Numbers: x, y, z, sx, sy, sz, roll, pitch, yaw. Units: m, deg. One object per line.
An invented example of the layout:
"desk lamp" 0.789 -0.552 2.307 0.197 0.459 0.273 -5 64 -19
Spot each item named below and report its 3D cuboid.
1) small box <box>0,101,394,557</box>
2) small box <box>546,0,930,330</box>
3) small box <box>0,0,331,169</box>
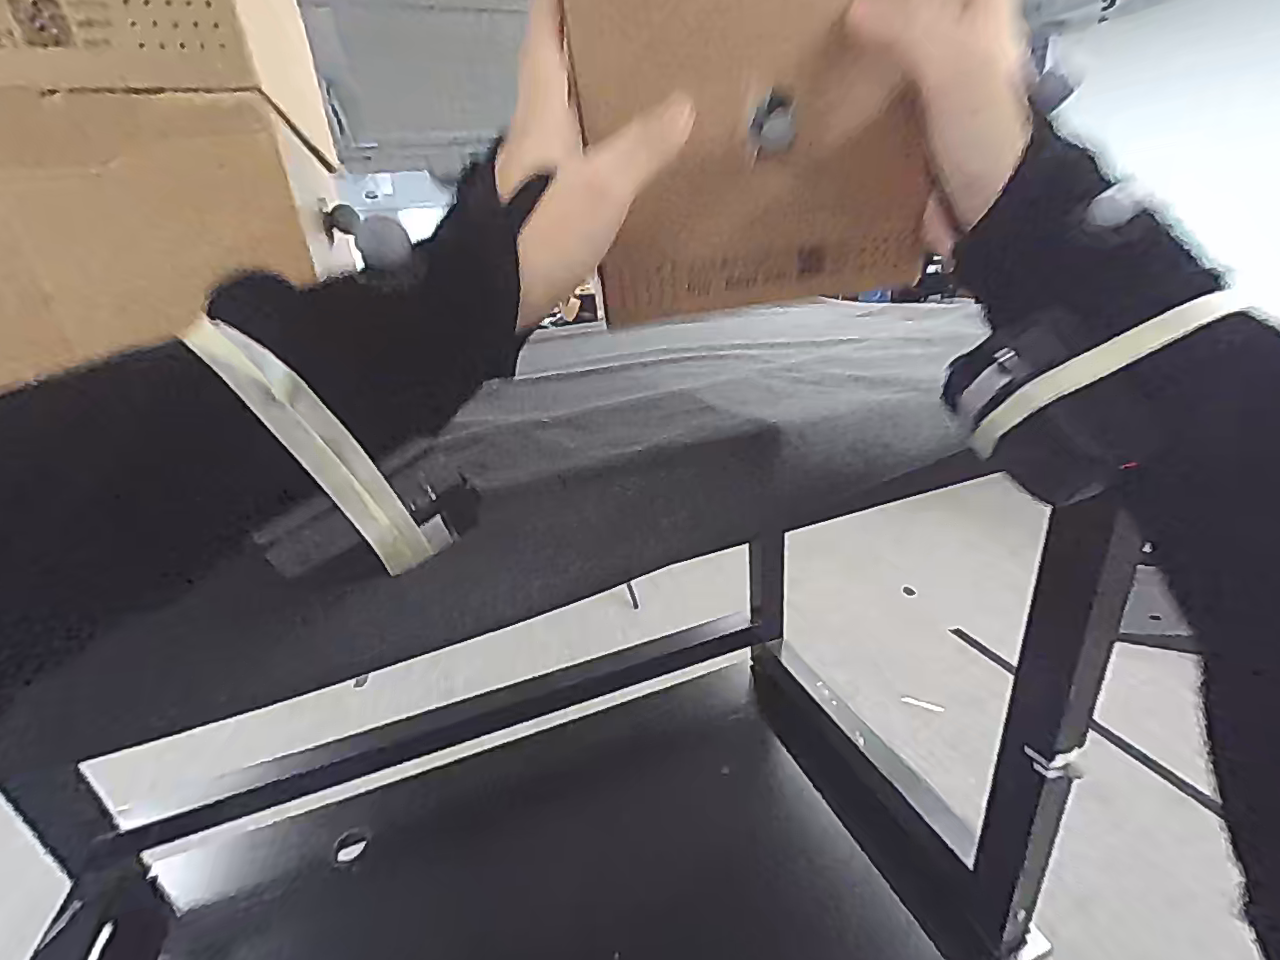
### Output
"small box" -0.242 -0.080 0.292 0.168 0.176 0.179 -13 22 -17
"small box" 0.042 -0.193 0.314 0.168 0.176 0.179 -9 31 -5
"small box" -0.258 -0.235 0.238 0.168 0.176 0.179 -13 22 -15
